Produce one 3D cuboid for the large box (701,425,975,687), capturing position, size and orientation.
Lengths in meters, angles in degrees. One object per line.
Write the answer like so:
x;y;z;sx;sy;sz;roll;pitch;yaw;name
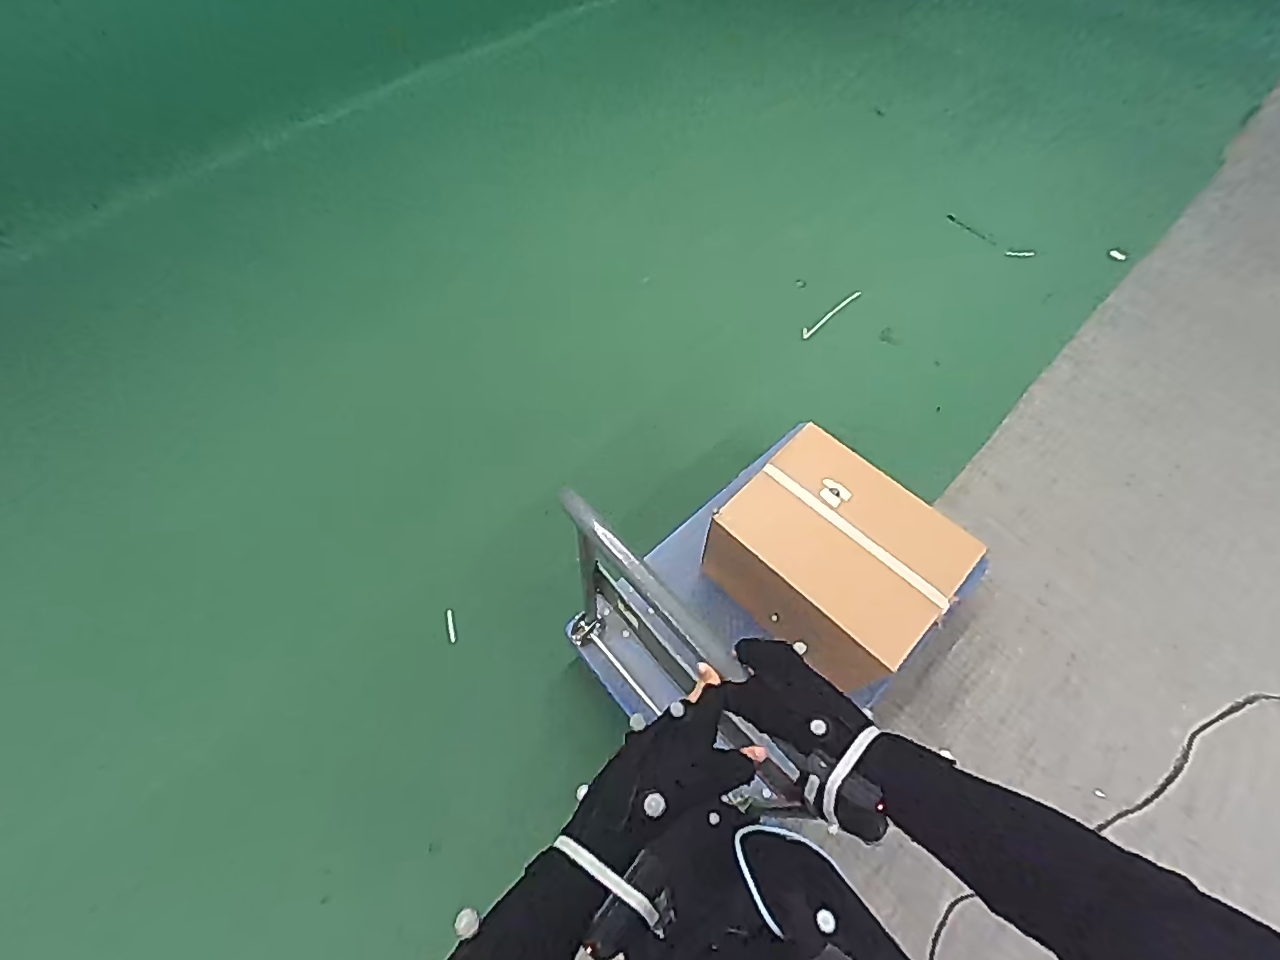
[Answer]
0.385;0.167;1.153;0.320;0.320;0.408;-41;67;-20;large box
